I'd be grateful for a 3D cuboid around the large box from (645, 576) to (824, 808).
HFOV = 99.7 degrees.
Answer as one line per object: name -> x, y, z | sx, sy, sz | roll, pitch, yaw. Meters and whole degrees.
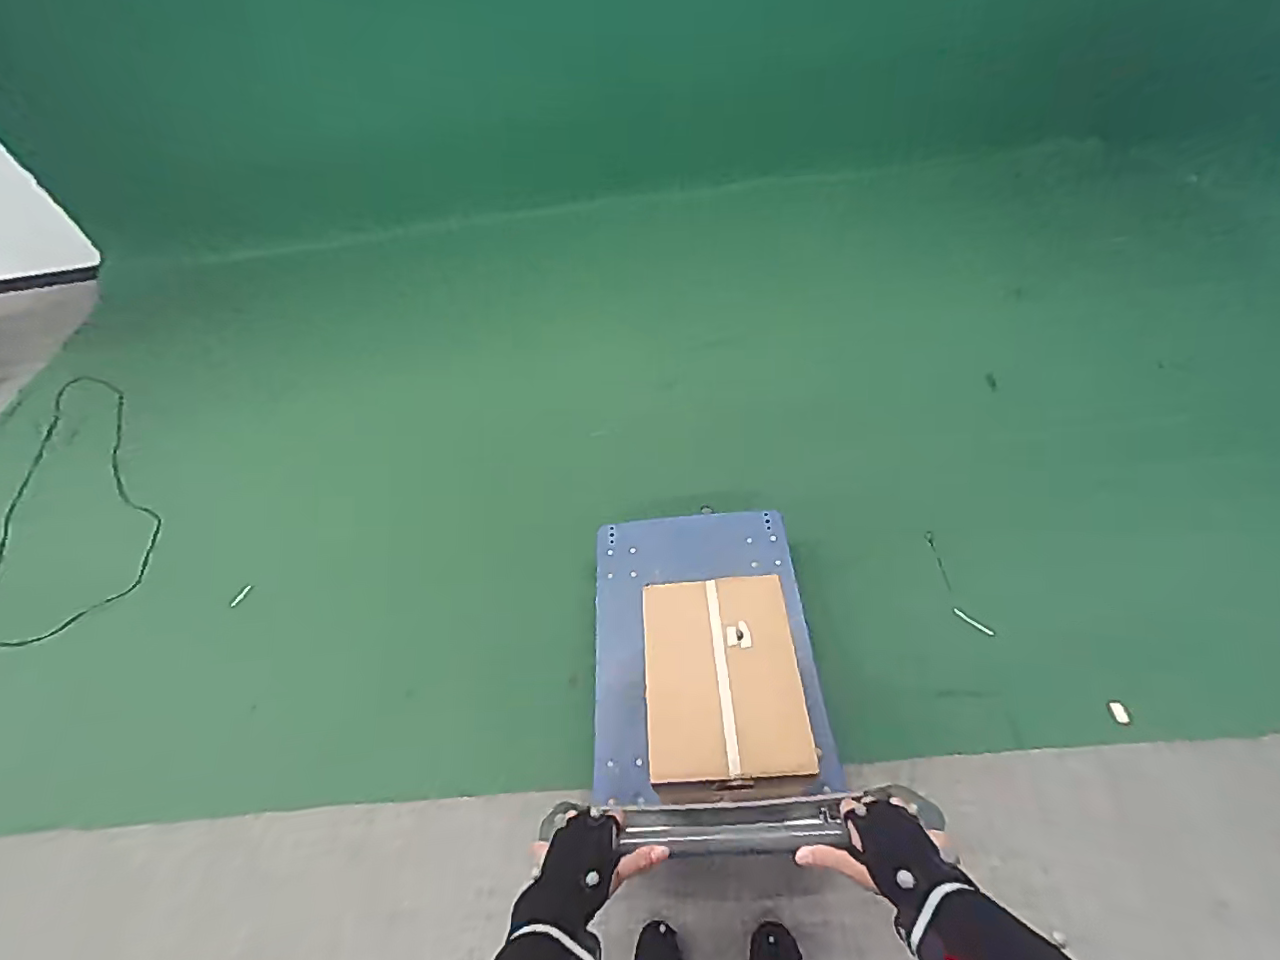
large box -> 0.189, 0.477, 1.214 | 0.320, 0.320, 0.408 | -5, 52, 3
